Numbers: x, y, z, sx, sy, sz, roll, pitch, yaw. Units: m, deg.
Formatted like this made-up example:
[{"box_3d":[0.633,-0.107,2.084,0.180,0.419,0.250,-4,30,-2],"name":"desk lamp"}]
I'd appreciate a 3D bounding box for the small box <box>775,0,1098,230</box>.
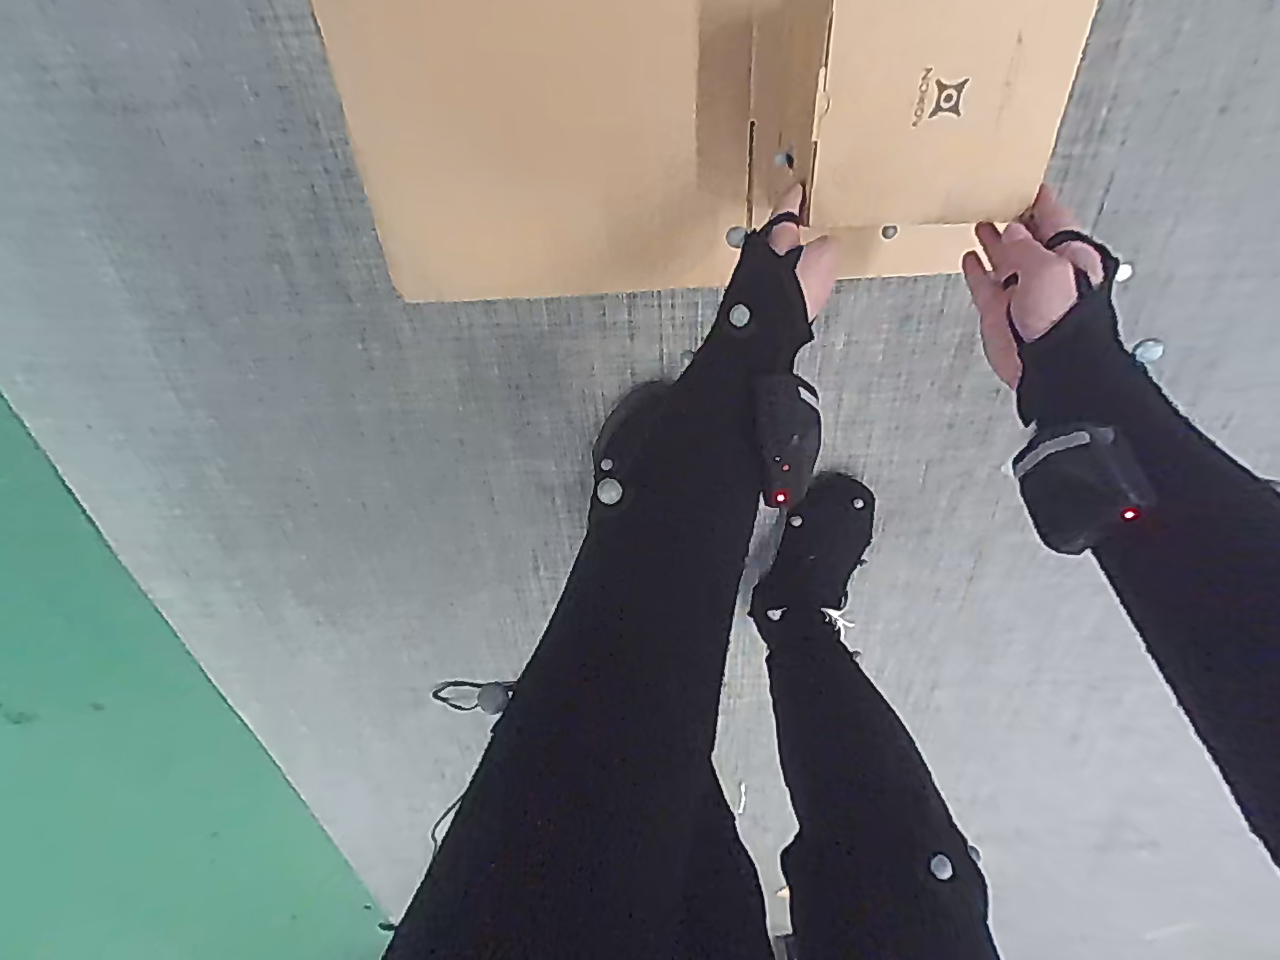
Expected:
[{"box_3d":[0.218,-0.310,0.455,0.179,0.176,0.168,-1,122,2],"name":"small box"}]
